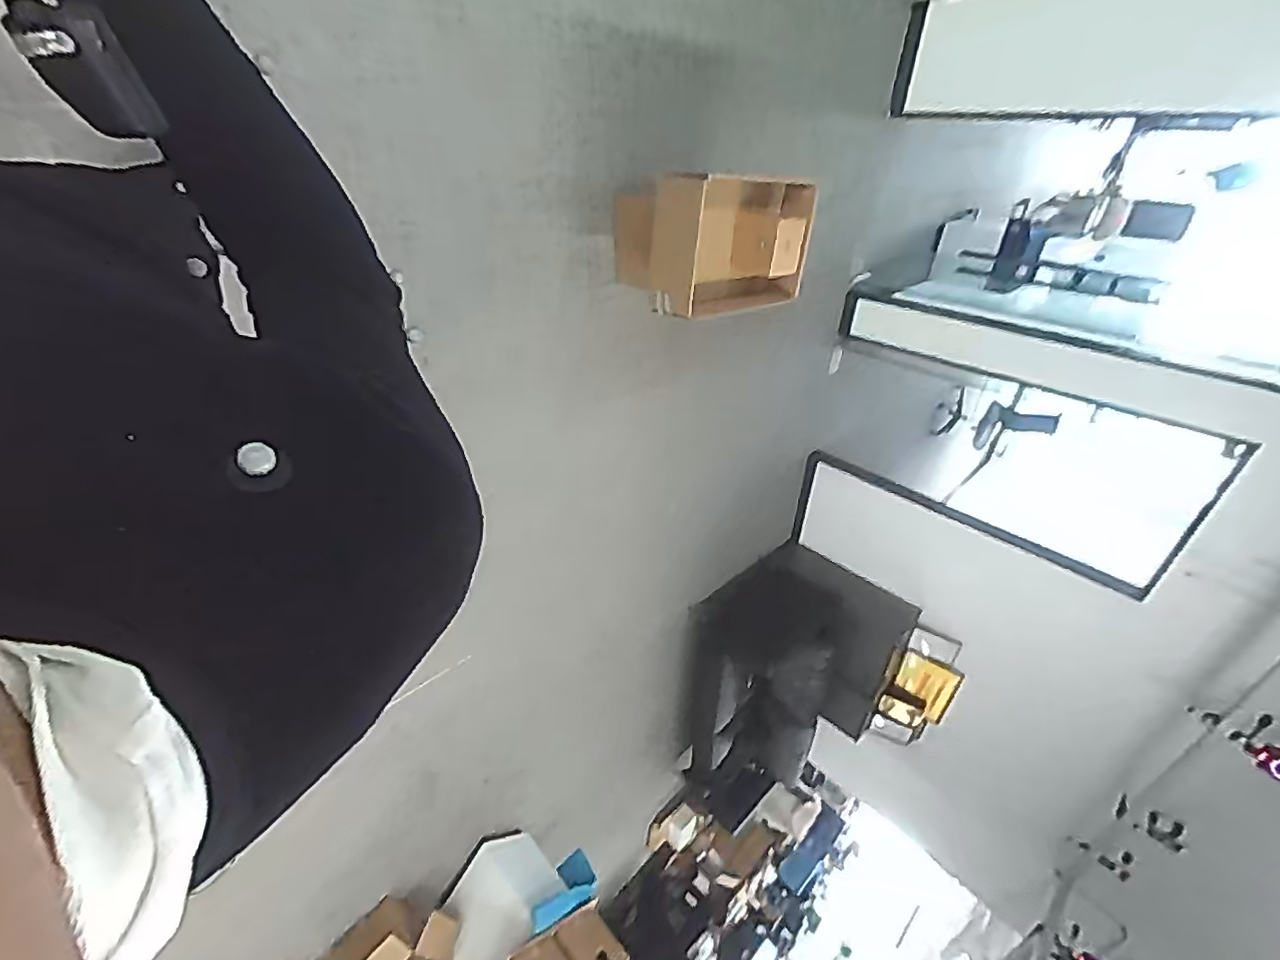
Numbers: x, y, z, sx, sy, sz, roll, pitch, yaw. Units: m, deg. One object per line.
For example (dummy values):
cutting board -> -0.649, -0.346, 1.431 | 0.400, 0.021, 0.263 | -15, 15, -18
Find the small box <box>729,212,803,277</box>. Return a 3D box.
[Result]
small box -> 0.425, -0.807, 1.845 | 0.168, 0.176, 0.179 | -24, 131, -38
